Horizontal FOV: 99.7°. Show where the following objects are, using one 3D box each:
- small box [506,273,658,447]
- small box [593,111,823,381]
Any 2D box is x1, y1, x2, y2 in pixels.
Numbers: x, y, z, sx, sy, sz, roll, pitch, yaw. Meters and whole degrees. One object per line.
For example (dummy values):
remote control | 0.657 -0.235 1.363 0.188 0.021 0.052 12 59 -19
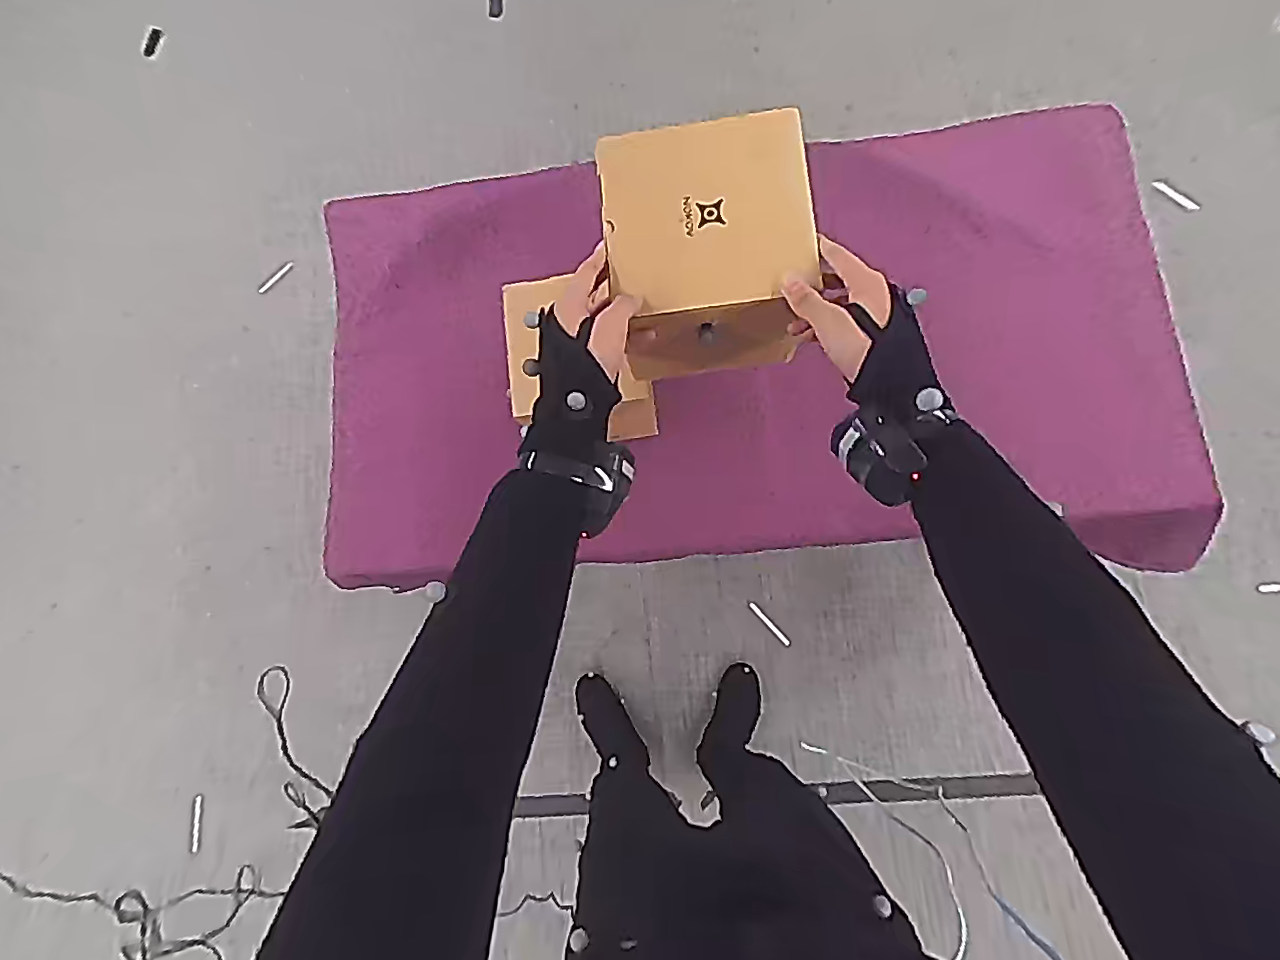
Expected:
small box | -0.069 -0.148 0.721 0.168 0.176 0.179 -7 79 3
small box | 0.061 -0.204 0.520 0.179 0.176 0.168 -6 83 6
